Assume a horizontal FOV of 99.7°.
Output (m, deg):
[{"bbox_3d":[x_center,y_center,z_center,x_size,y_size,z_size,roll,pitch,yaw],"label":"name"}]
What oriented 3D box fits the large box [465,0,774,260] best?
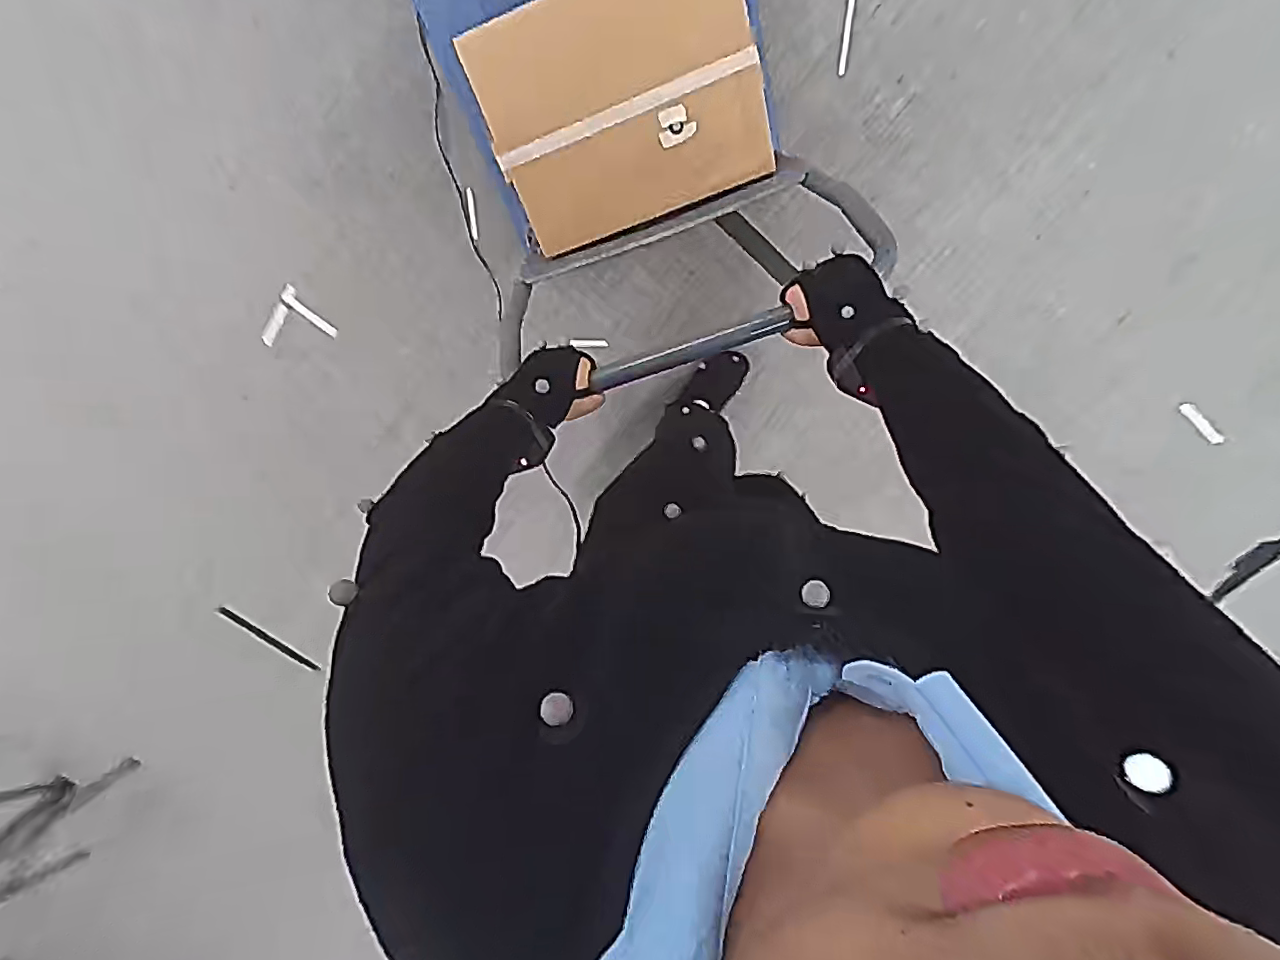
[{"bbox_3d":[-0.027,-0.642,0.949,0.408,0.320,0.320,-19,124,9],"label":"large box"}]
